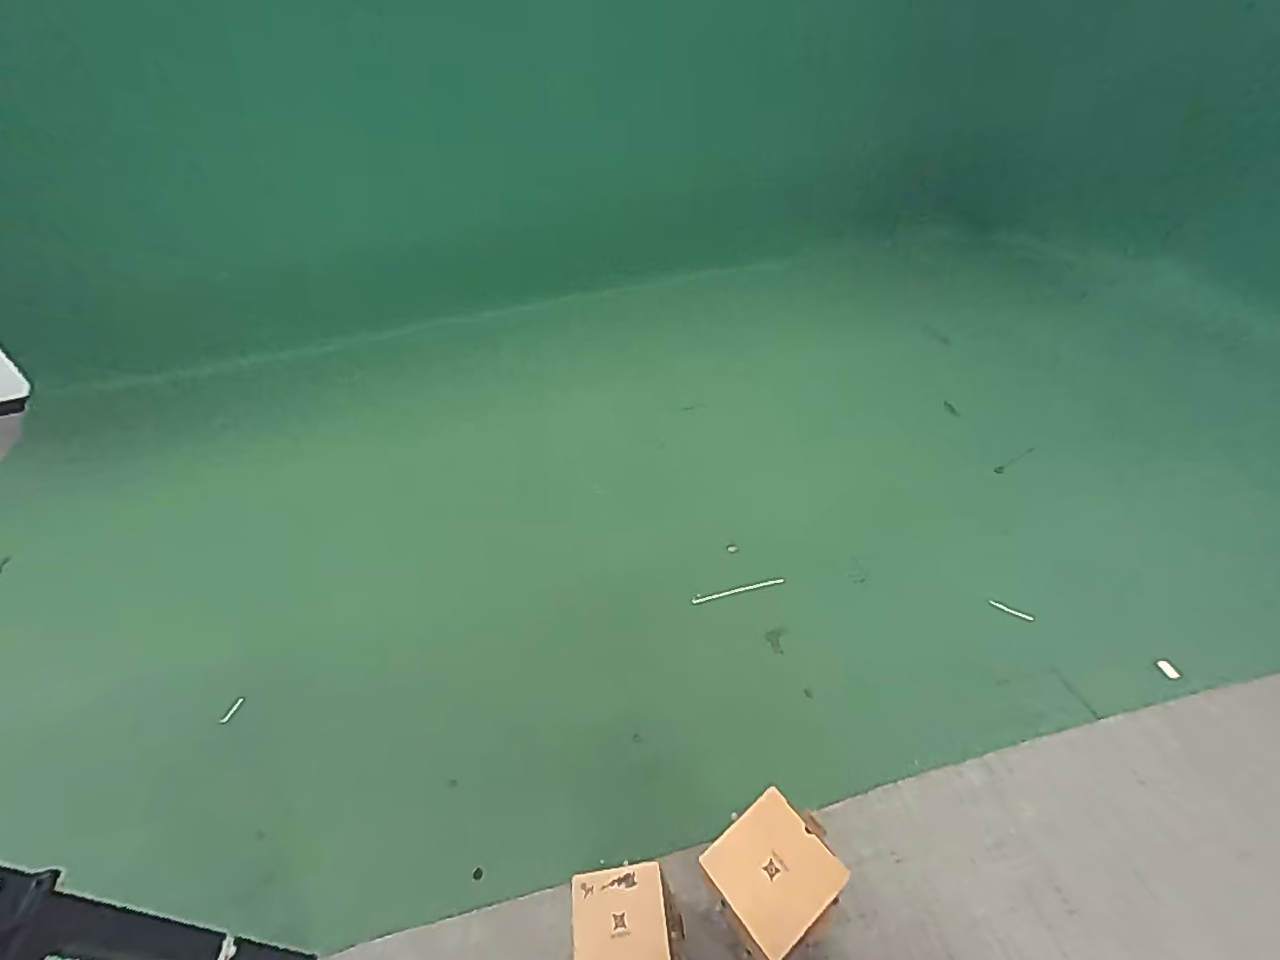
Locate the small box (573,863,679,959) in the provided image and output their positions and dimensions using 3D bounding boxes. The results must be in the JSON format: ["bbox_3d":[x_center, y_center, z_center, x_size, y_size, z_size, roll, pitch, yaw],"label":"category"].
[{"bbox_3d":[-0.023,0.825,0.978,0.168,0.176,0.179,-9,43,1],"label":"small box"}]

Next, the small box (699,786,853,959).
[{"bbox_3d":[0.217,0.655,0.888,0.179,0.176,0.168,-31,49,-23],"label":"small box"}]

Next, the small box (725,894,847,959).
[{"bbox_3d":[0.249,0.772,0.999,0.179,0.176,0.168,-27,48,-20],"label":"small box"}]
